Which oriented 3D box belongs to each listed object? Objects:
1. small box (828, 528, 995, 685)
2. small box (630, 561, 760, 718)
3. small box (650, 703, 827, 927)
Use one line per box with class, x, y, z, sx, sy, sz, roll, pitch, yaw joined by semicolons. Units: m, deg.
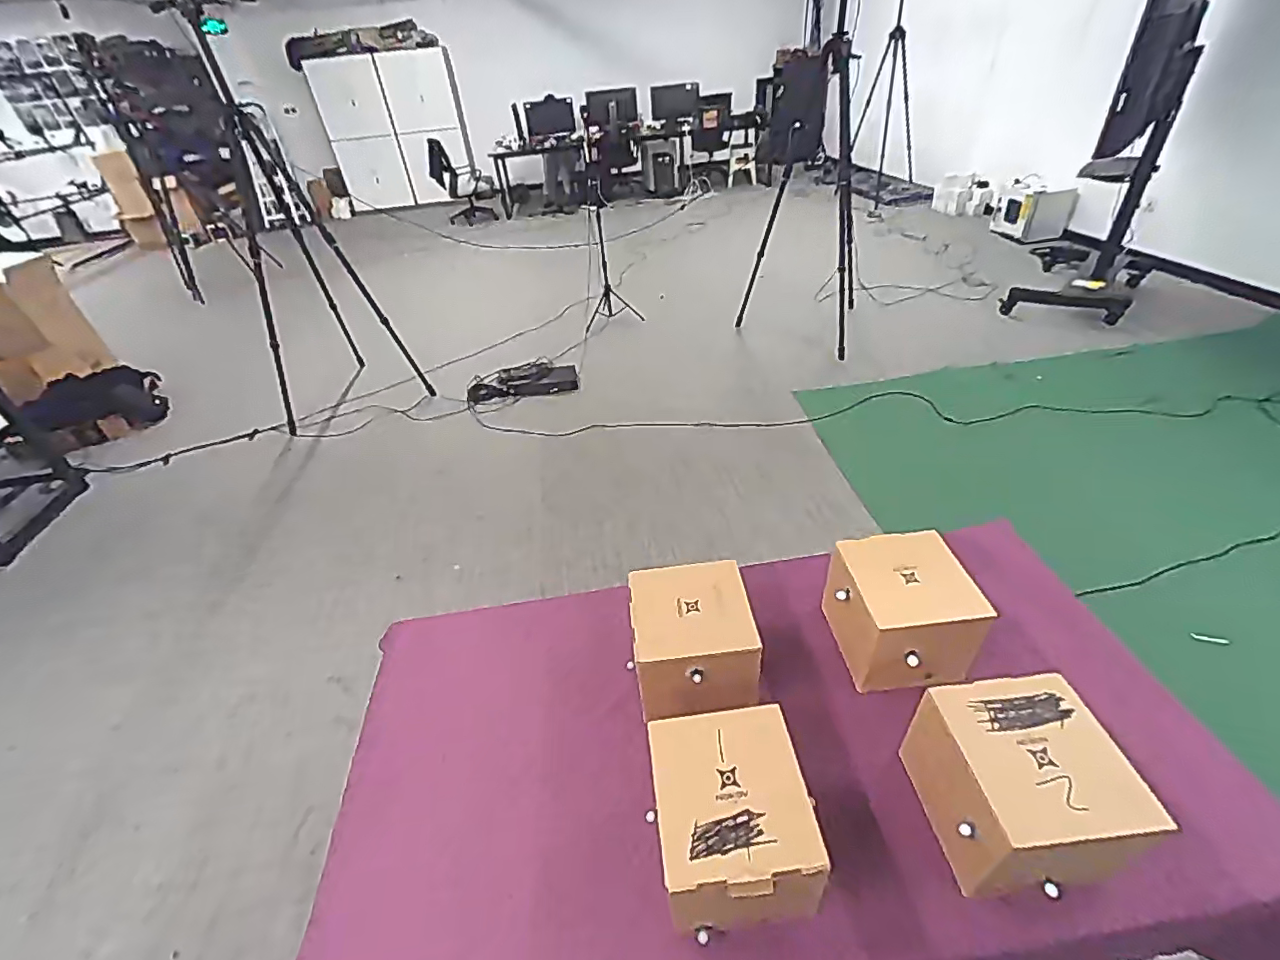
small box;0.408;0.203;0.847;0.168;0.176;0.179;-7;37;1
small box;0.082;0.250;0.842;0.179;0.176;0.168;-6;38;0
small box;0.107;0.399;0.643;0.168;0.176;0.179;-8;37;-1
